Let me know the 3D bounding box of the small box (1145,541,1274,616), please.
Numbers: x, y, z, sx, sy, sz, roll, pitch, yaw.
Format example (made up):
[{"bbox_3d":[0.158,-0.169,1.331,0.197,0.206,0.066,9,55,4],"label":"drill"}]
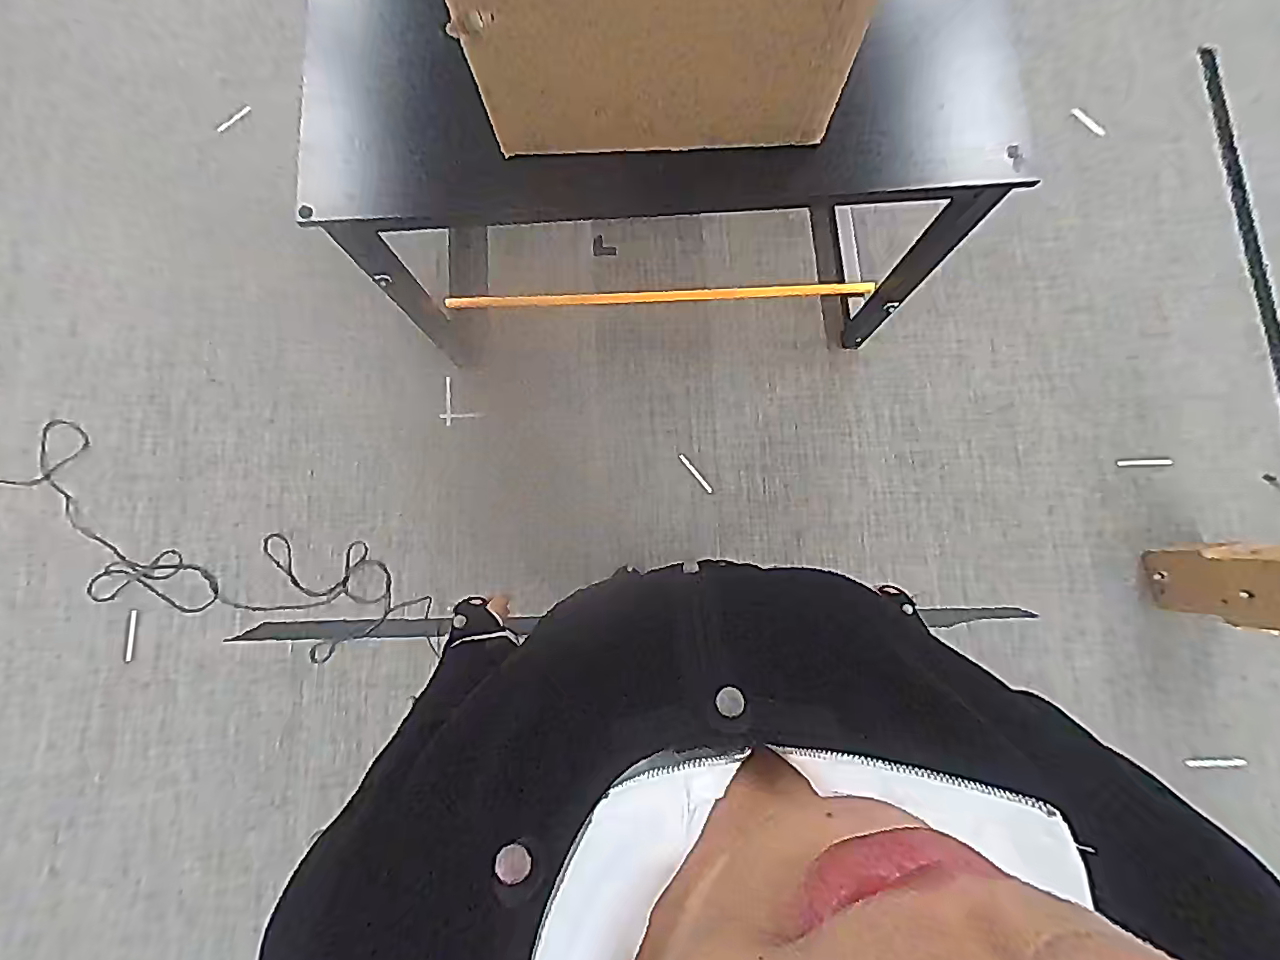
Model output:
[{"bbox_3d":[1.482,0.251,1.399,0.179,0.176,0.168,-9,81,1],"label":"small box"}]

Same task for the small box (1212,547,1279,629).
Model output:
[{"bbox_3d":[1.479,0.244,1.234,0.179,0.176,0.168,-10,81,0],"label":"small box"}]
